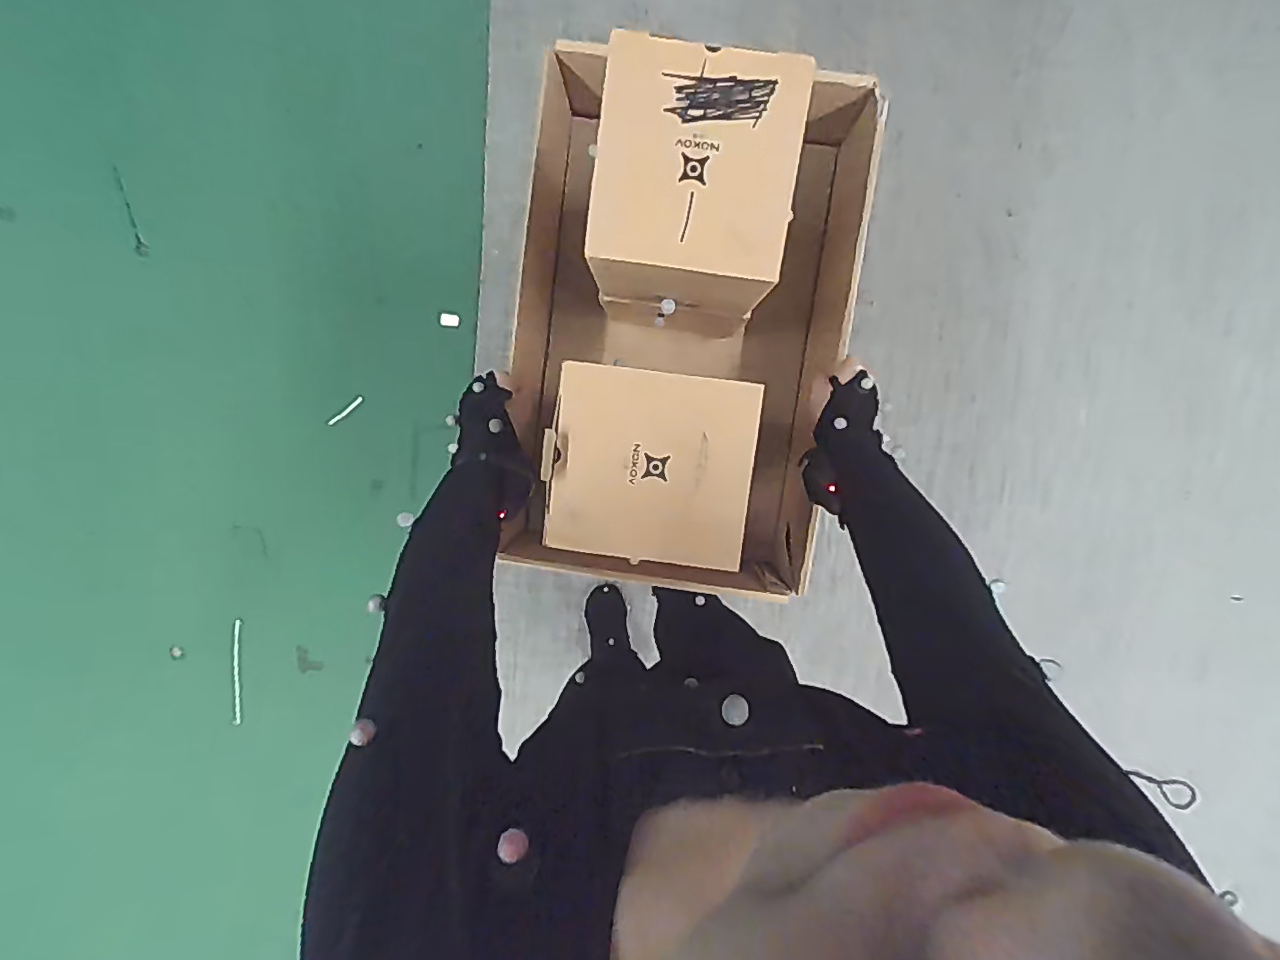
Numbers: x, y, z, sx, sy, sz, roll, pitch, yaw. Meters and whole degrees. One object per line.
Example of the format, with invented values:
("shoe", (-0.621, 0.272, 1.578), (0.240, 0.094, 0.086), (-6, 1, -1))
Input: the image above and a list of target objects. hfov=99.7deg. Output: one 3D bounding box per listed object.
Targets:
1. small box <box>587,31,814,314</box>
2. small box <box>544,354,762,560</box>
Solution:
("small box", (0.048, -0.274, 0.524), (0.168, 0.176, 0.179), (9, 99, 0))
("small box", (0.011, -0.026, 0.553), (0.179, 0.176, 0.168), (7, 96, 0))
